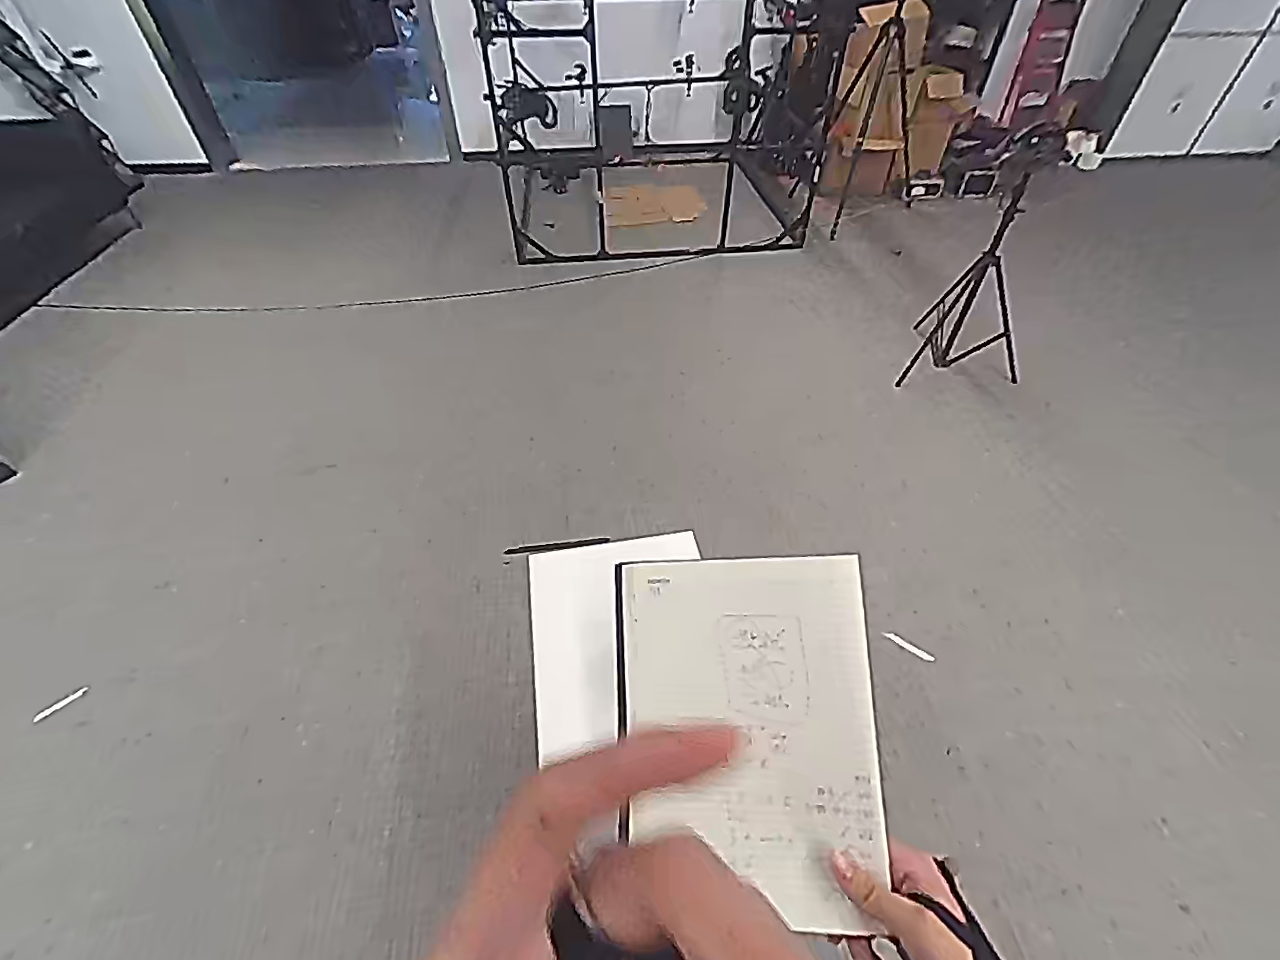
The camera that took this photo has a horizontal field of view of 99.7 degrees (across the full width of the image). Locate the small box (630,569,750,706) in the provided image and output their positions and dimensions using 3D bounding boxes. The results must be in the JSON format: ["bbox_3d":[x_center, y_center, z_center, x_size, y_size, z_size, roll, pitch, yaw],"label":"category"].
[{"bbox_3d":[0.087,0.303,1.038,0.179,0.176,0.168,-15,47,-12],"label":"small box"}]
